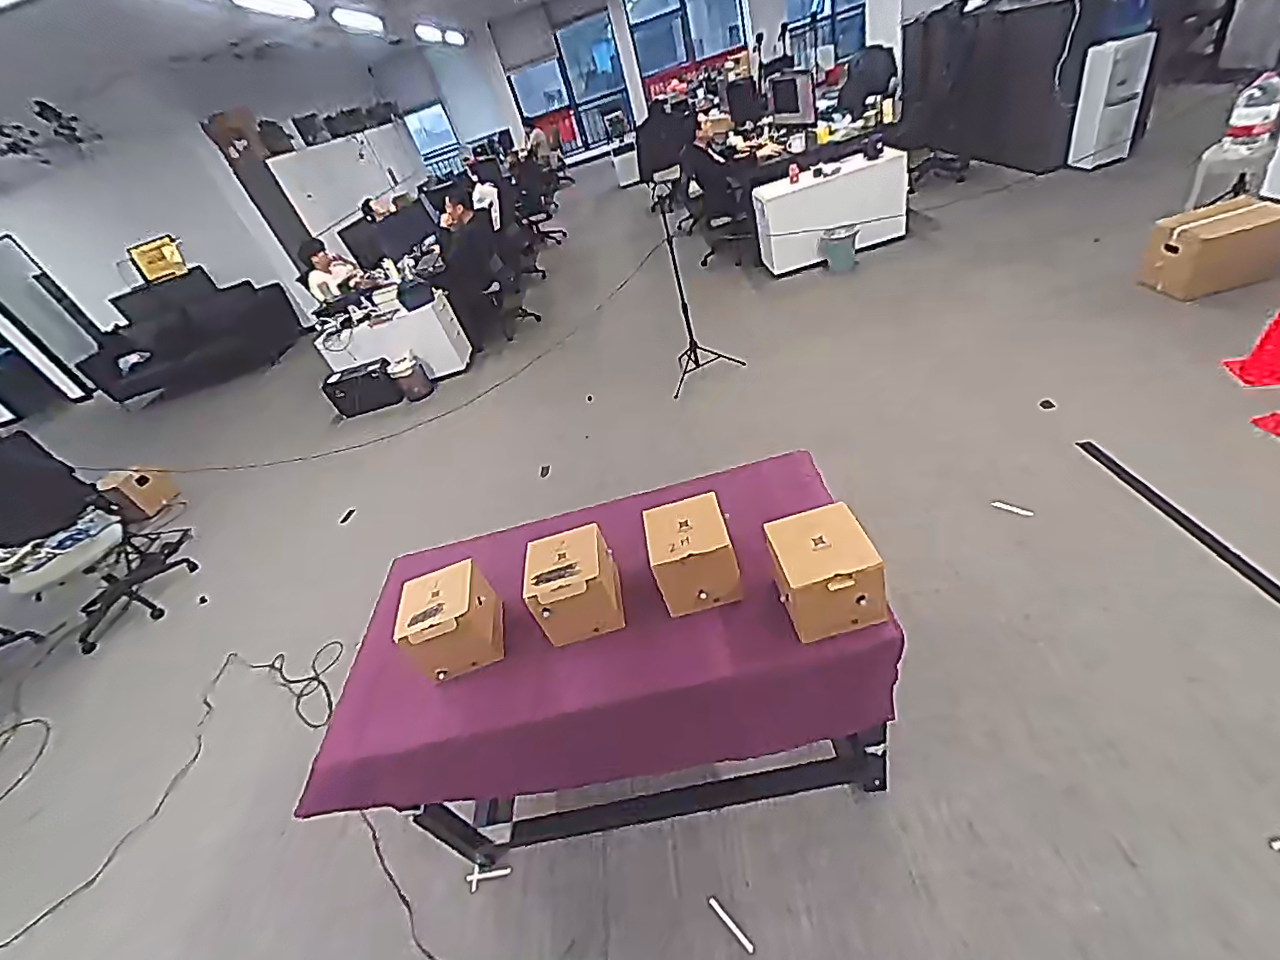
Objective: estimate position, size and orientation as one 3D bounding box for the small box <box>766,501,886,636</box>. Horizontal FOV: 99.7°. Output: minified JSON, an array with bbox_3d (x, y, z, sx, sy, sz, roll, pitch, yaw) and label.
[{"bbox_3d":[0.356,0.175,1.033,0.168,0.176,0.179,-17,36,5],"label":"small box"}]

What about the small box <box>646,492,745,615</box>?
[{"bbox_3d":[0.117,0.159,1.164,0.168,0.176,0.179,-16,37,6],"label":"small box"}]

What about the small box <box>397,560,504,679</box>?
[{"bbox_3d":[-0.415,0.318,1.213,0.168,0.176,0.179,-21,36,-1],"label":"small box"}]
